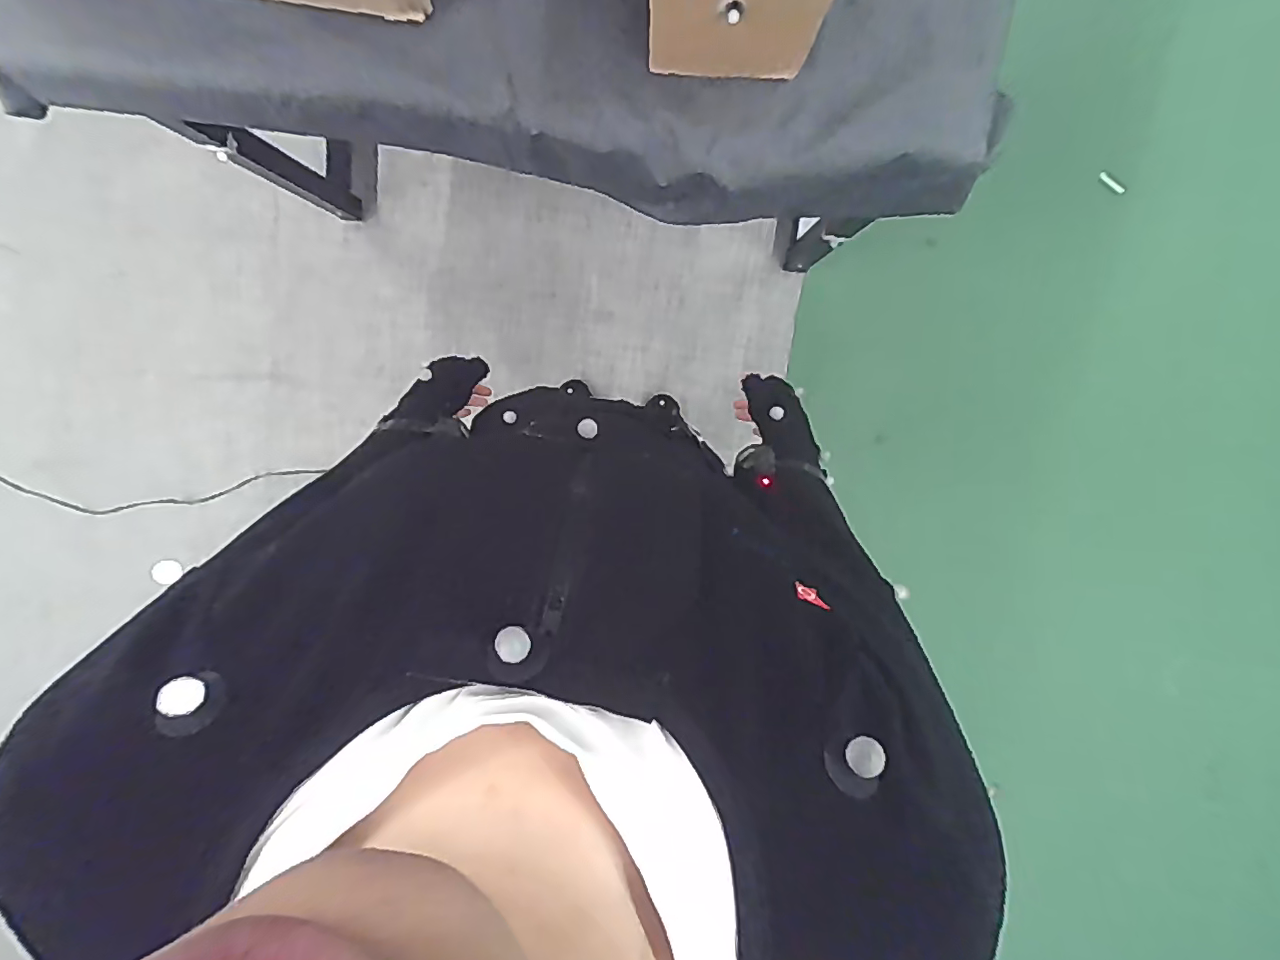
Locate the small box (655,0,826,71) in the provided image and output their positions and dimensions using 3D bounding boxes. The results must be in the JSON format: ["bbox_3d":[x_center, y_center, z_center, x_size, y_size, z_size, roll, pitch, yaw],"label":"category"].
[{"bbox_3d":[0.106,-0.553,0.550,0.179,0.176,0.168,3,102,0],"label":"small box"}]
